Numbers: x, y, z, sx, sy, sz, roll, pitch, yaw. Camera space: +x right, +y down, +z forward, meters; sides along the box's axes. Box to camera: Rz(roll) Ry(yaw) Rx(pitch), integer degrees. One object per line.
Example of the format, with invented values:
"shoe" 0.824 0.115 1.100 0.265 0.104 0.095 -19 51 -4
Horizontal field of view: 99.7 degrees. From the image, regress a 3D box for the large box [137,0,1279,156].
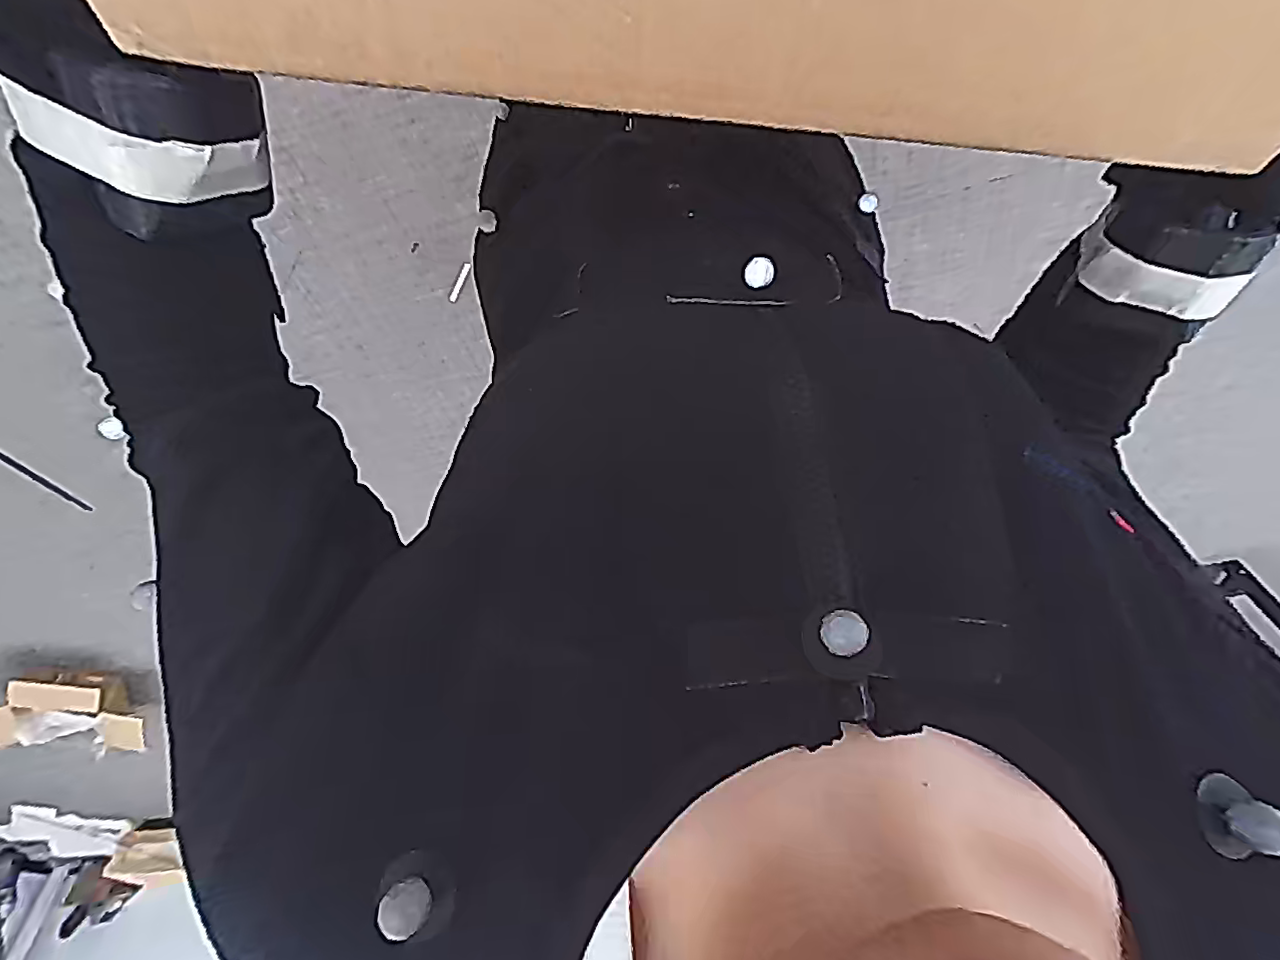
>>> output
"large box" 0.046 -0.347 0.175 0.408 0.320 0.320 2 141 -5
